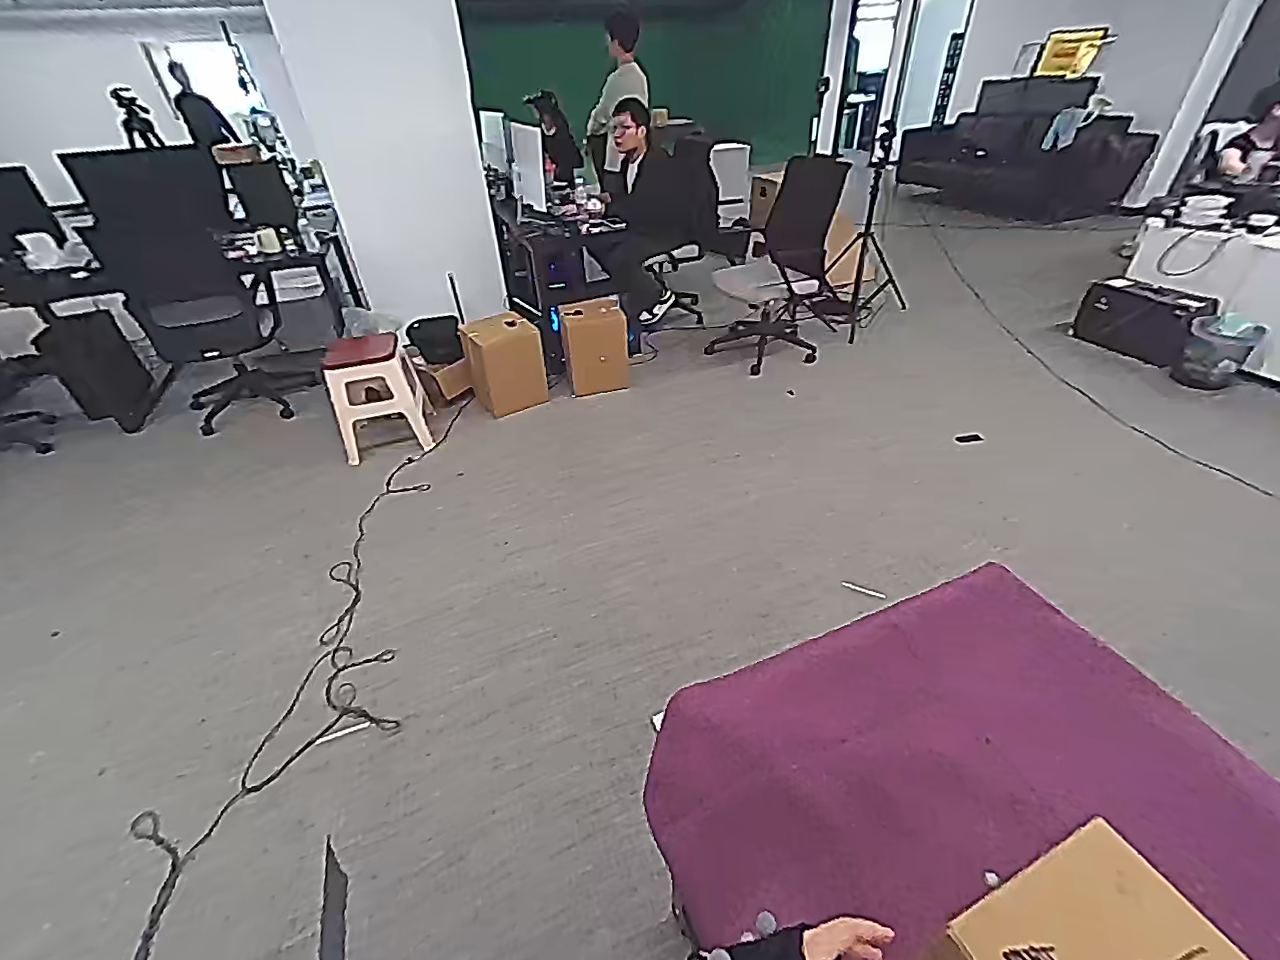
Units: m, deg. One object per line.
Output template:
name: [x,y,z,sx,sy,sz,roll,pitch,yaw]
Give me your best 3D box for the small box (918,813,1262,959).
small box: [0.343,0.406,0.411,0.179,0.176,0.168,-16,39,-19]
